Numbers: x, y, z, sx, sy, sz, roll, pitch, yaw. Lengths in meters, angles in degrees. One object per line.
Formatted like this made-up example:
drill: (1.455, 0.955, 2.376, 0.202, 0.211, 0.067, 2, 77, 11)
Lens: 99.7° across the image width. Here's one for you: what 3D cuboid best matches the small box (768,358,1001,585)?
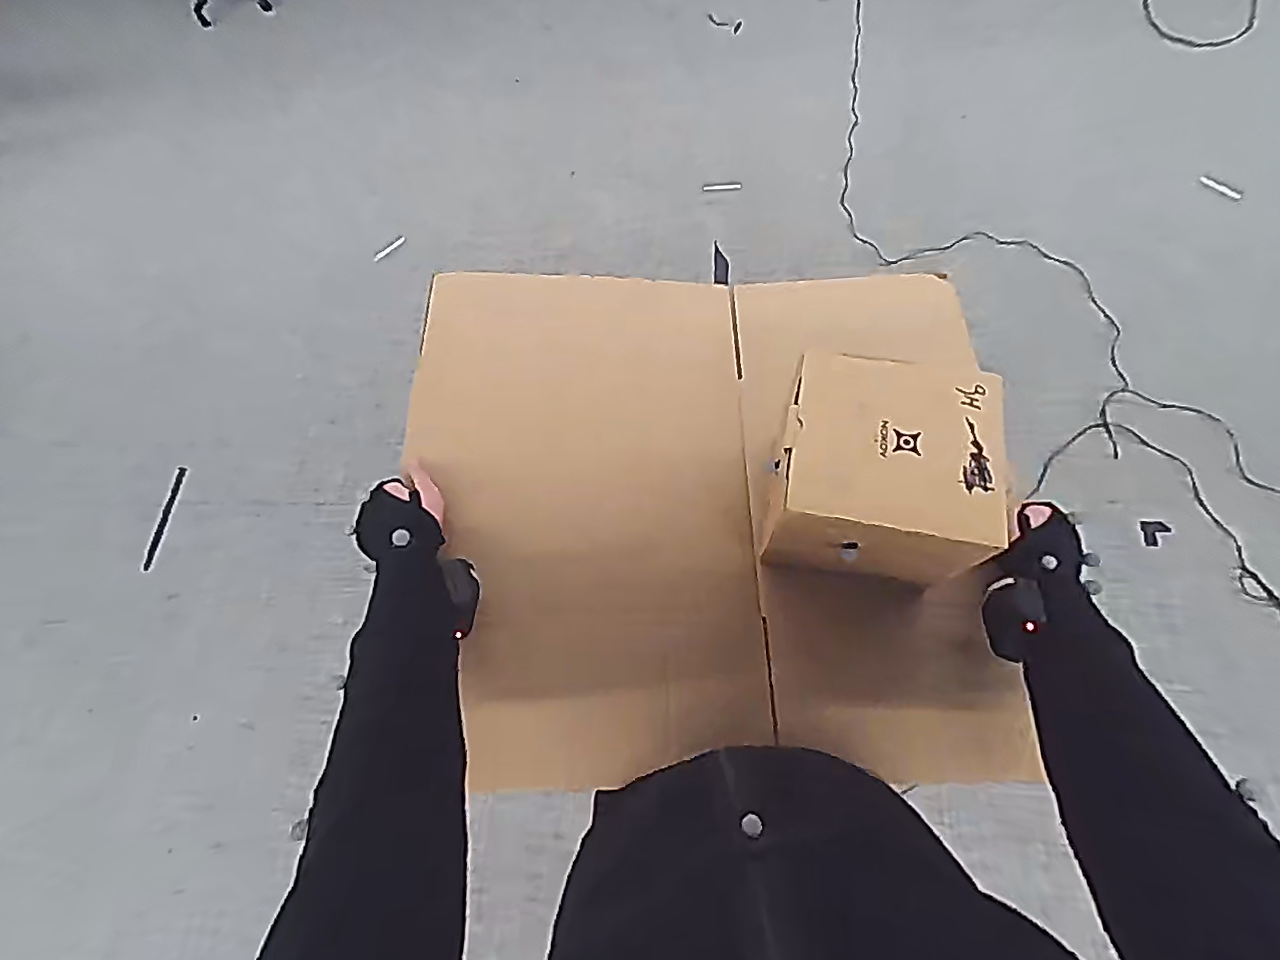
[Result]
small box: (0.231, -0.001, 0.549, 0.179, 0.176, 0.168, 9, 68, 11)
